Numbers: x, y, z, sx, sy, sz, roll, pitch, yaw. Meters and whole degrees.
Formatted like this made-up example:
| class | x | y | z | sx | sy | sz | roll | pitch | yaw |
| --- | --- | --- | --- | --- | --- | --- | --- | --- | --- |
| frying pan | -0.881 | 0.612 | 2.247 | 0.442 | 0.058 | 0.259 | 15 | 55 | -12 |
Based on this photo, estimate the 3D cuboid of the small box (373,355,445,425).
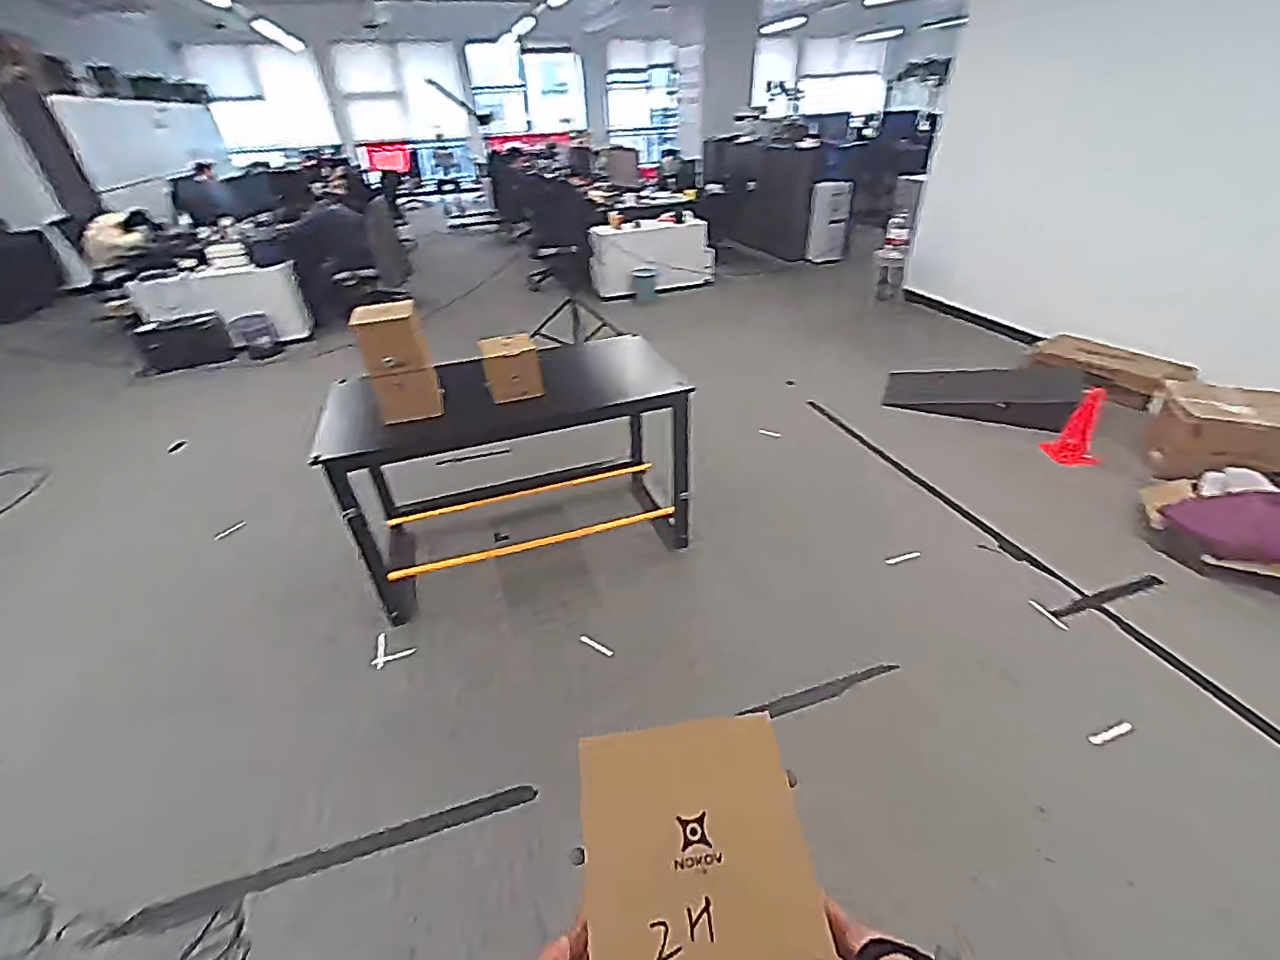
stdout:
| class | x | y | z | sx | sy | sz | roll | pitch | yaw |
| --- | --- | --- | --- | --- | --- | --- | --- | --- | --- |
| small box | -0.748 | -0.294 | 1.767 | 0.179 | 0.176 | 0.168 | -11 | 35 | -14 |

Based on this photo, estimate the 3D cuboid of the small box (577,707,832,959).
| class | x | y | z | sx | sy | sz | roll | pitch | yaw |
| --- | --- | --- | --- | --- | --- | --- | --- | --- | --- |
| small box | 0.038 | 0.321 | 0.463 | 0.168 | 0.176 | 0.179 | -7 | 47 | -4 |

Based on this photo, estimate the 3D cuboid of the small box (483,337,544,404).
| class | x | y | z | sx | sy | sz | roll | pitch | yaw |
| --- | --- | --- | --- | --- | --- | --- | --- | --- | --- |
| small box | -0.434 | -0.373 | 1.864 | 0.168 | 0.176 | 0.179 | -14 | 36 | -15 |

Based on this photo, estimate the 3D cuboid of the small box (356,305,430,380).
| class | x | y | z | sx | sy | sz | roll | pitch | yaw |
| --- | --- | --- | --- | --- | --- | --- | --- | --- | --- |
| small box | -0.757 | -0.426 | 1.674 | 0.168 | 0.176 | 0.179 | -14 | 37 | -13 |
